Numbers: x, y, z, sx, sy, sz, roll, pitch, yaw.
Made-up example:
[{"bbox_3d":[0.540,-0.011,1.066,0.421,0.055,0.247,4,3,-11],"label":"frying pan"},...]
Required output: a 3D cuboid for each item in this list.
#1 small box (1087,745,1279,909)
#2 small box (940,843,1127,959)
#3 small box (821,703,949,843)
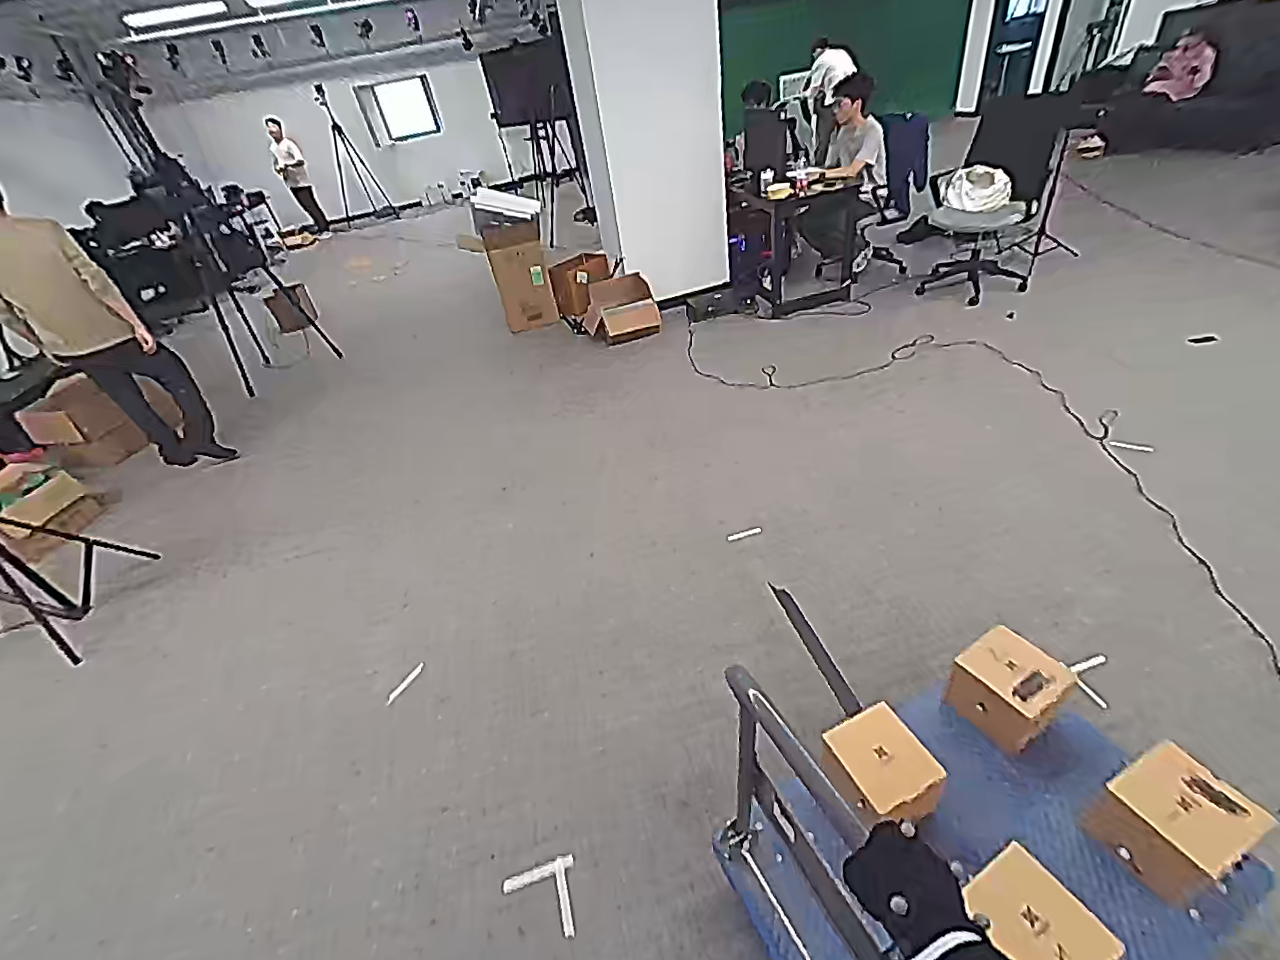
[{"bbox_3d":[0.976,0.634,0.991,0.179,0.176,0.168,-23,38,-14],"label":"small box"},{"bbox_3d":[0.640,0.768,0.905,0.168,0.176,0.179,-25,39,-17],"label":"small box"},{"bbox_3d":[0.503,0.616,1.140,0.168,0.176,0.179,-21,40,-13],"label":"small box"}]
